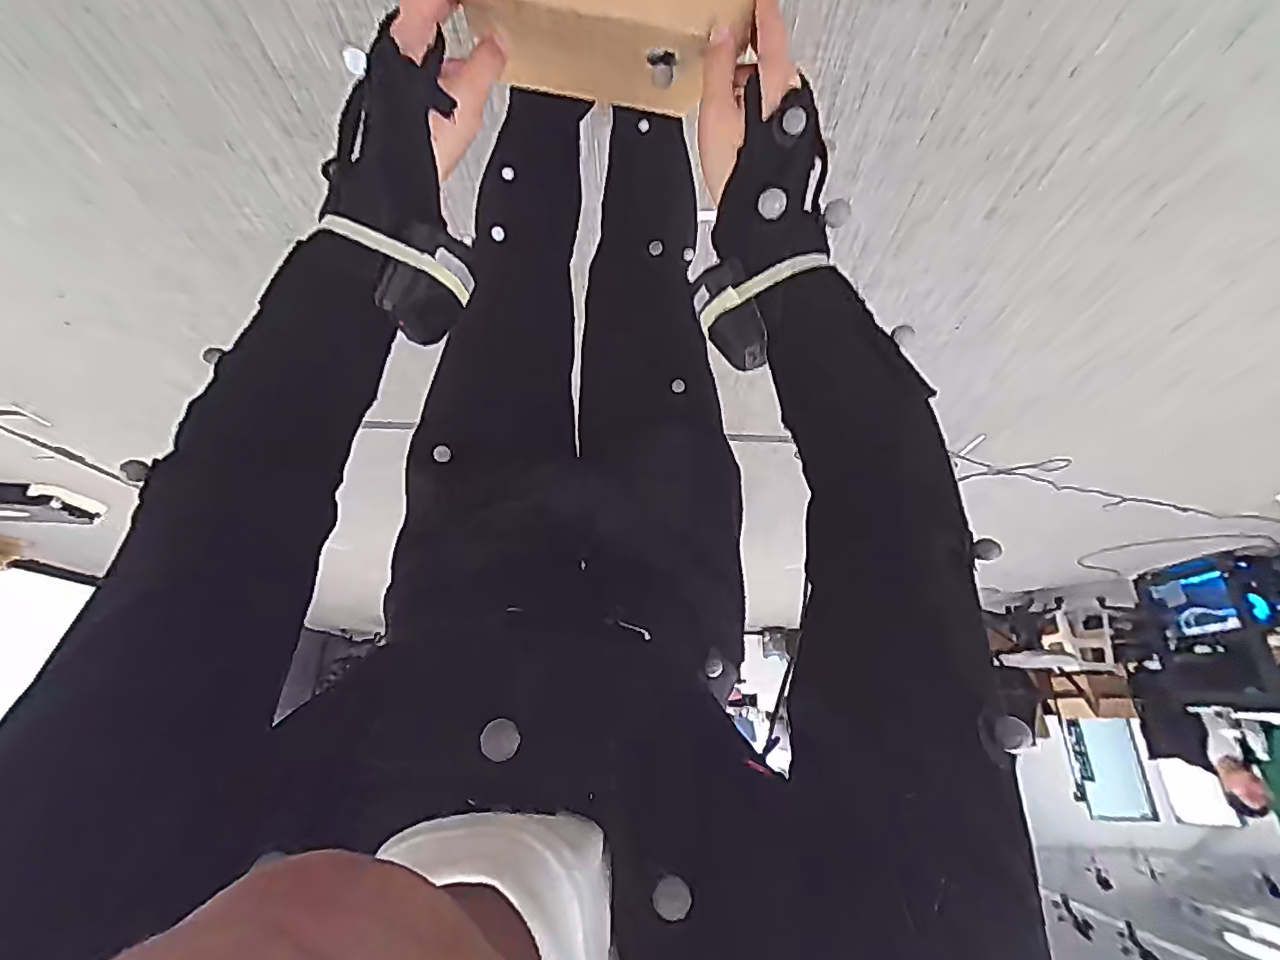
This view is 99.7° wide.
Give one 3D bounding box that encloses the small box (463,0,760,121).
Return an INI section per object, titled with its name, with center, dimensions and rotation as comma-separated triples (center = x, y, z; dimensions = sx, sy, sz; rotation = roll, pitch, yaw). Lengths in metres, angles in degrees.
[small box]
center = -0.019, -0.367, 0.366
dimensions = 0.179, 0.168, 0.176
rotation = 3, -161, -10
